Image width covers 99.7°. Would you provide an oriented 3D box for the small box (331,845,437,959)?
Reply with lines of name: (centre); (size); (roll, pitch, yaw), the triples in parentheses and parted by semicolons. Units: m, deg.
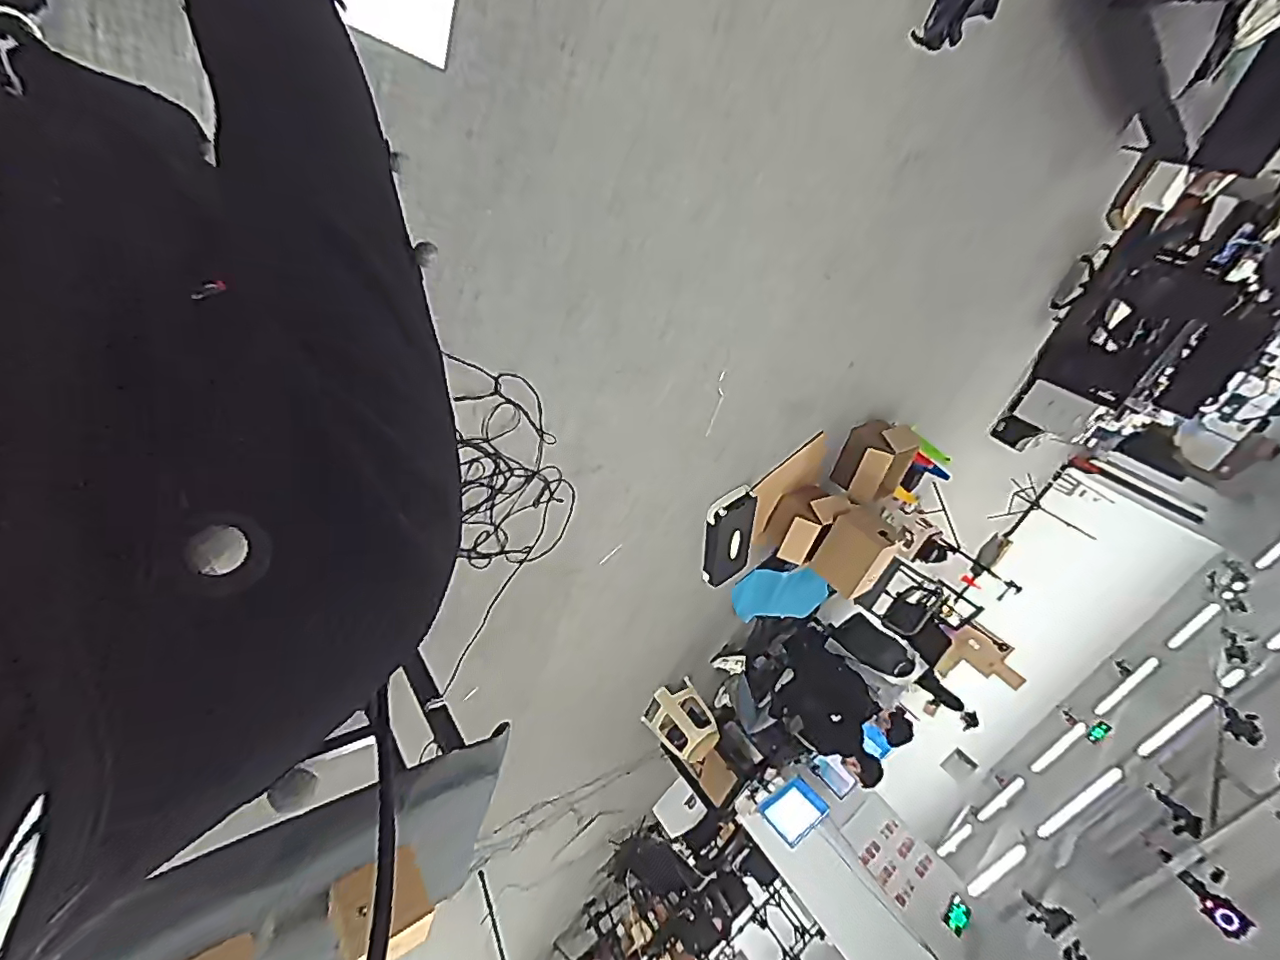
small box: (-0.600, 1.006, 1.256); (0.179, 0.176, 0.168); (-9, 131, -43)
